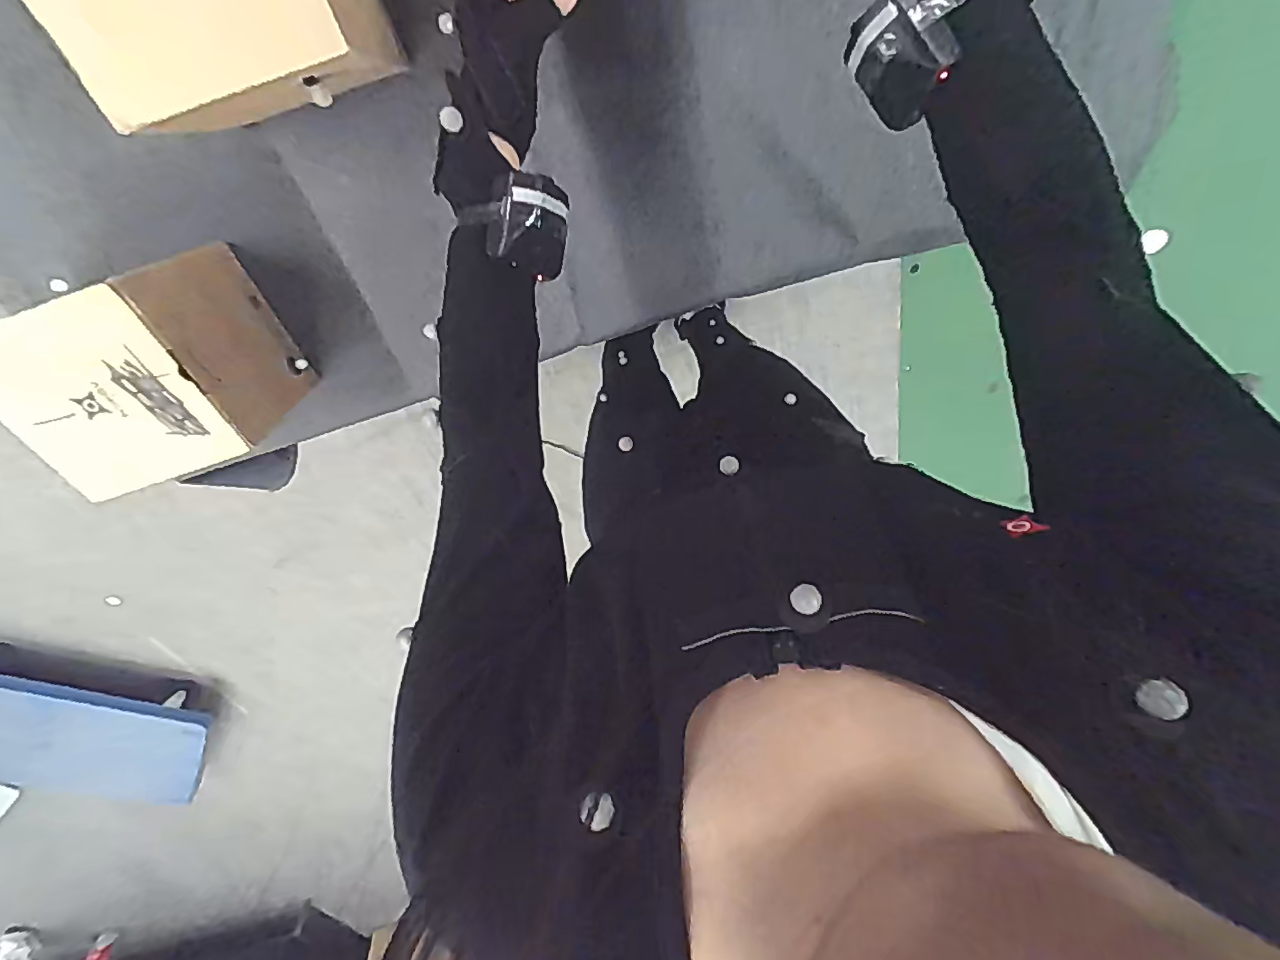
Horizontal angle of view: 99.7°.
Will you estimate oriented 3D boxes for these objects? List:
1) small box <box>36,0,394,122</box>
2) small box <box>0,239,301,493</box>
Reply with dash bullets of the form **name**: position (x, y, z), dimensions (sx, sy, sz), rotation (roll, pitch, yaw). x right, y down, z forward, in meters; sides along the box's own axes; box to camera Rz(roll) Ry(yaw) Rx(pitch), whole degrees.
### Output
- **small box**: position (-0.299, -0.374, 0.381), dimensions (0.179, 0.176, 0.168), rotation (-15, 125, 3)
- **small box**: position (-0.475, -0.119, 0.533), dimensions (0.179, 0.176, 0.168), rotation (-16, 124, 5)
